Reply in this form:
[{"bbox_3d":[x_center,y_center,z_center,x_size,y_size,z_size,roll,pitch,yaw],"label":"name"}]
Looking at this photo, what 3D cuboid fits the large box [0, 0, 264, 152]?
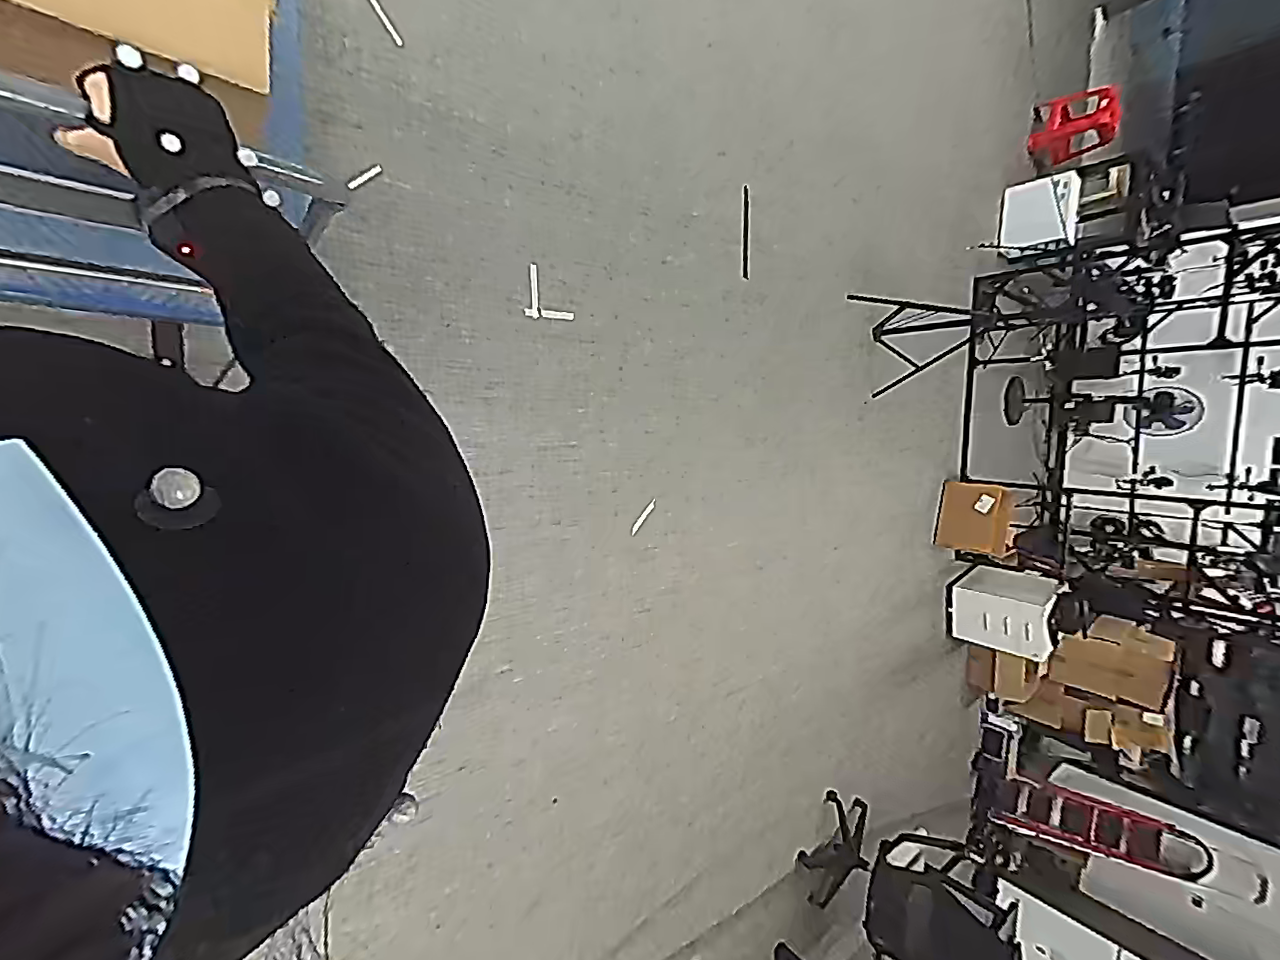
[{"bbox_3d":[-0.818,-0.763,0.806,0.408,0.320,0.320,-1,96,-39],"label":"large box"}]
